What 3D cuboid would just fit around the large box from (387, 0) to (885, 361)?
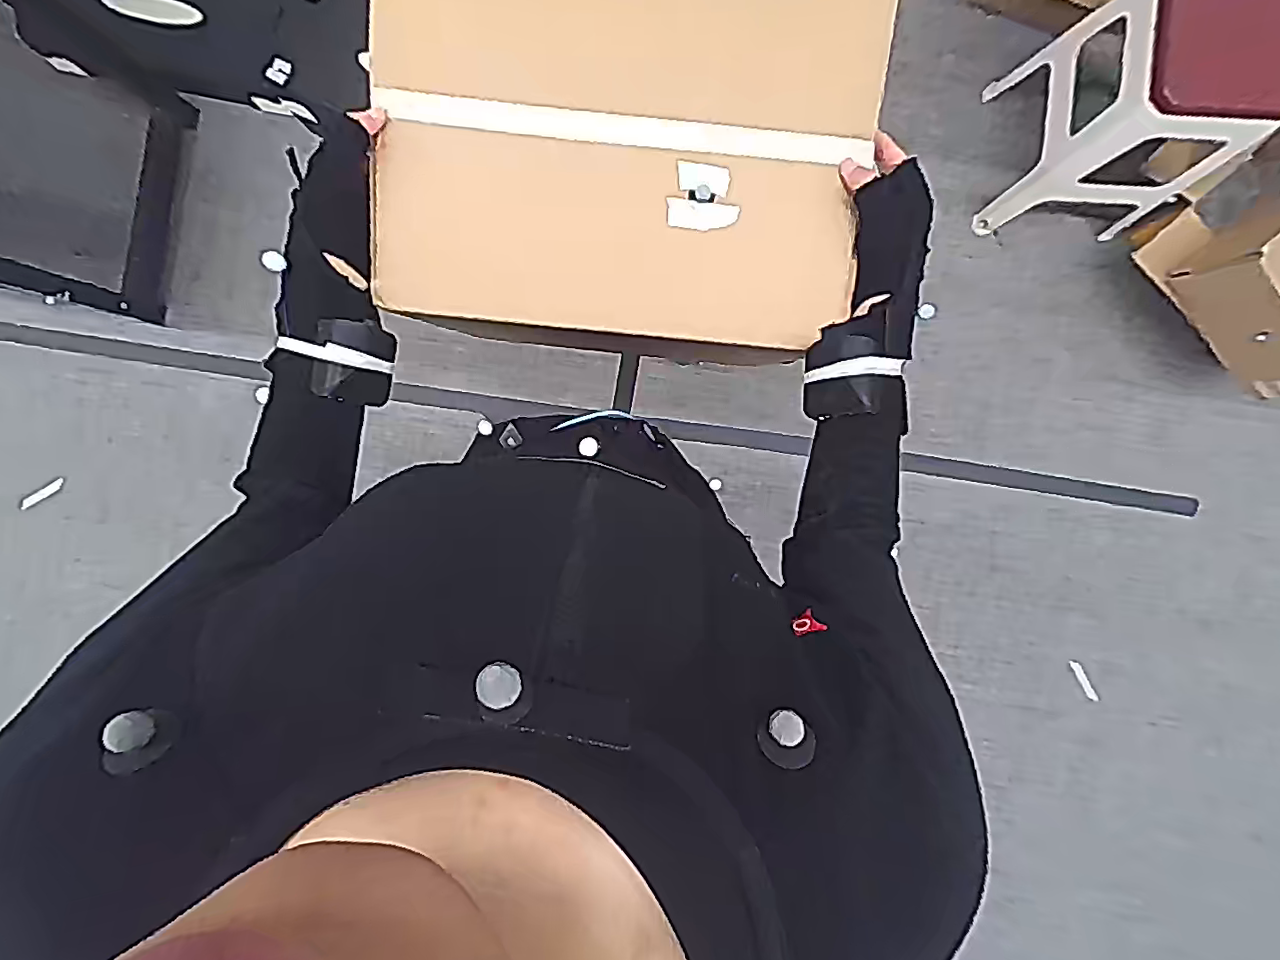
[{"bbox_3d":[-0.015,-0.310,0.597,0.408,0.320,0.320,5,101,-3],"label":"large box"}]
